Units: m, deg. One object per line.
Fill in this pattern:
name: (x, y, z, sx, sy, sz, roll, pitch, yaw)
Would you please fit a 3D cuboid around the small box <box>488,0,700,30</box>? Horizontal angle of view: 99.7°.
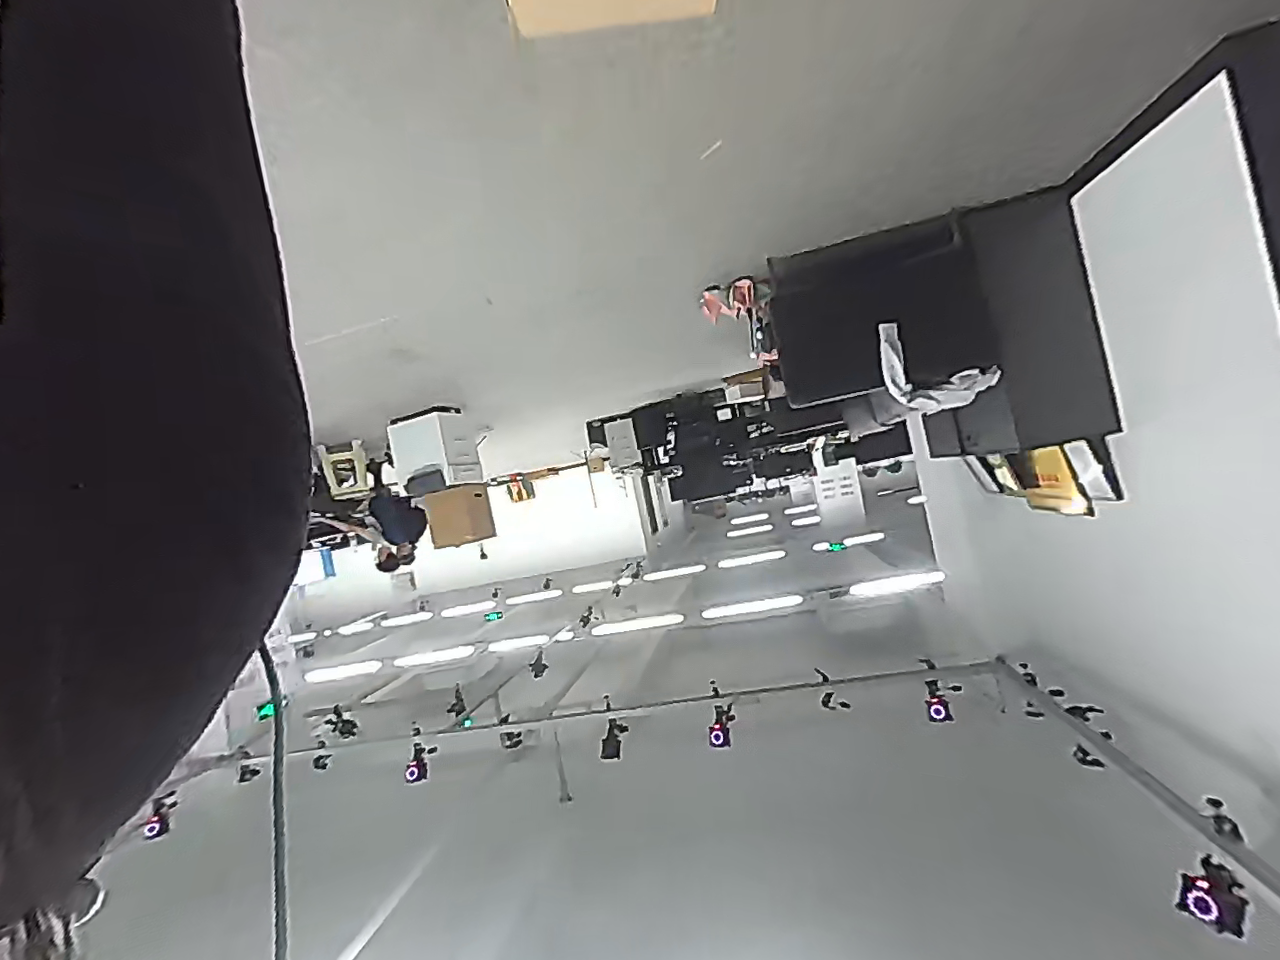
small box: (-0.042, -0.464, 0.366, 0.179, 0.176, 0.168, -12, -179, -4)
